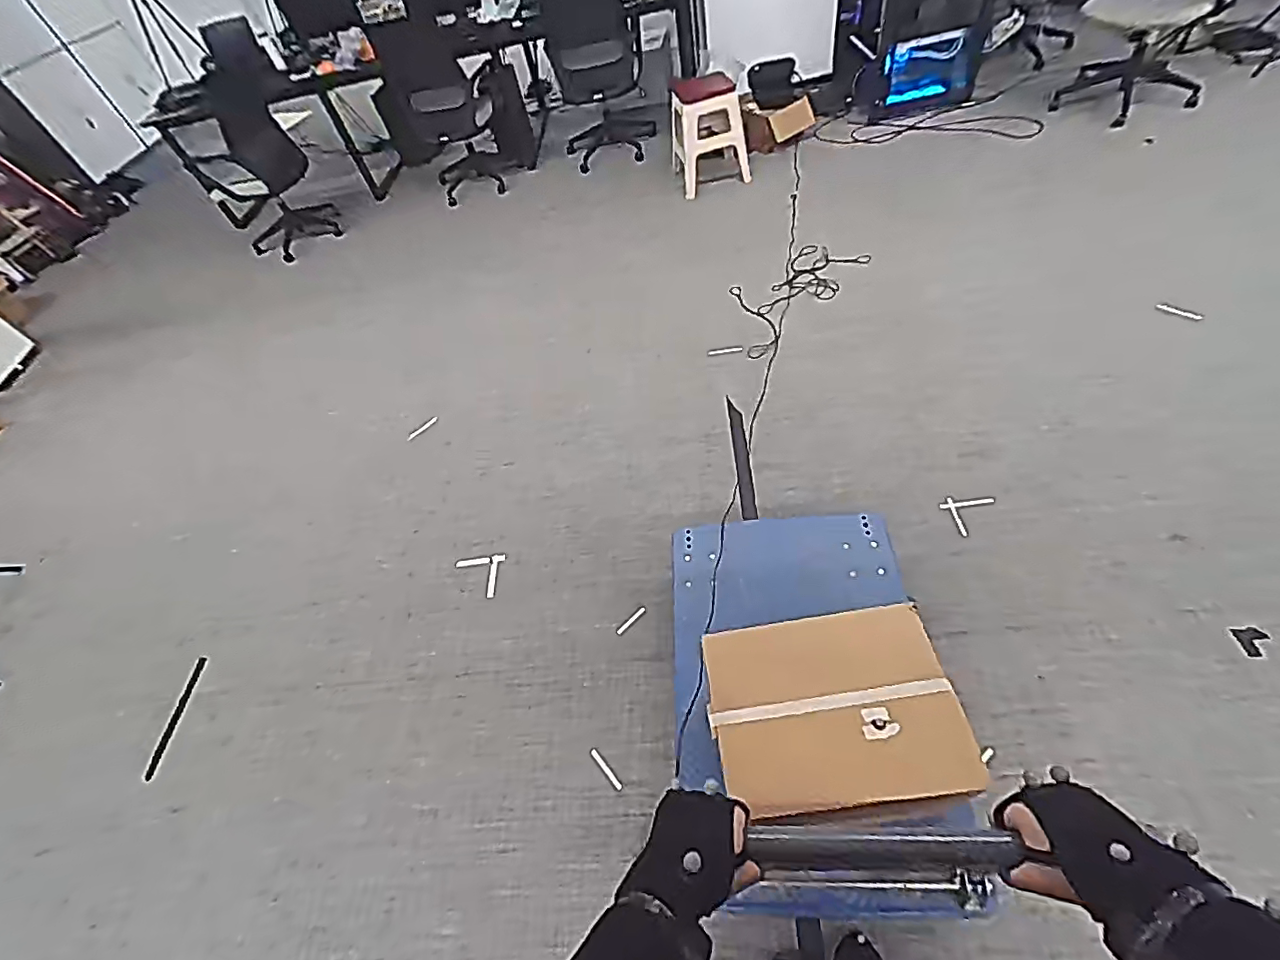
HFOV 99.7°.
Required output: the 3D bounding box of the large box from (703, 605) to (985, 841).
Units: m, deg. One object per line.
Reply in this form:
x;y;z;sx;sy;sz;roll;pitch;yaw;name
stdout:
0.357;0.485;1.063;0.408;0.320;0.320;-11;51;4;large box
